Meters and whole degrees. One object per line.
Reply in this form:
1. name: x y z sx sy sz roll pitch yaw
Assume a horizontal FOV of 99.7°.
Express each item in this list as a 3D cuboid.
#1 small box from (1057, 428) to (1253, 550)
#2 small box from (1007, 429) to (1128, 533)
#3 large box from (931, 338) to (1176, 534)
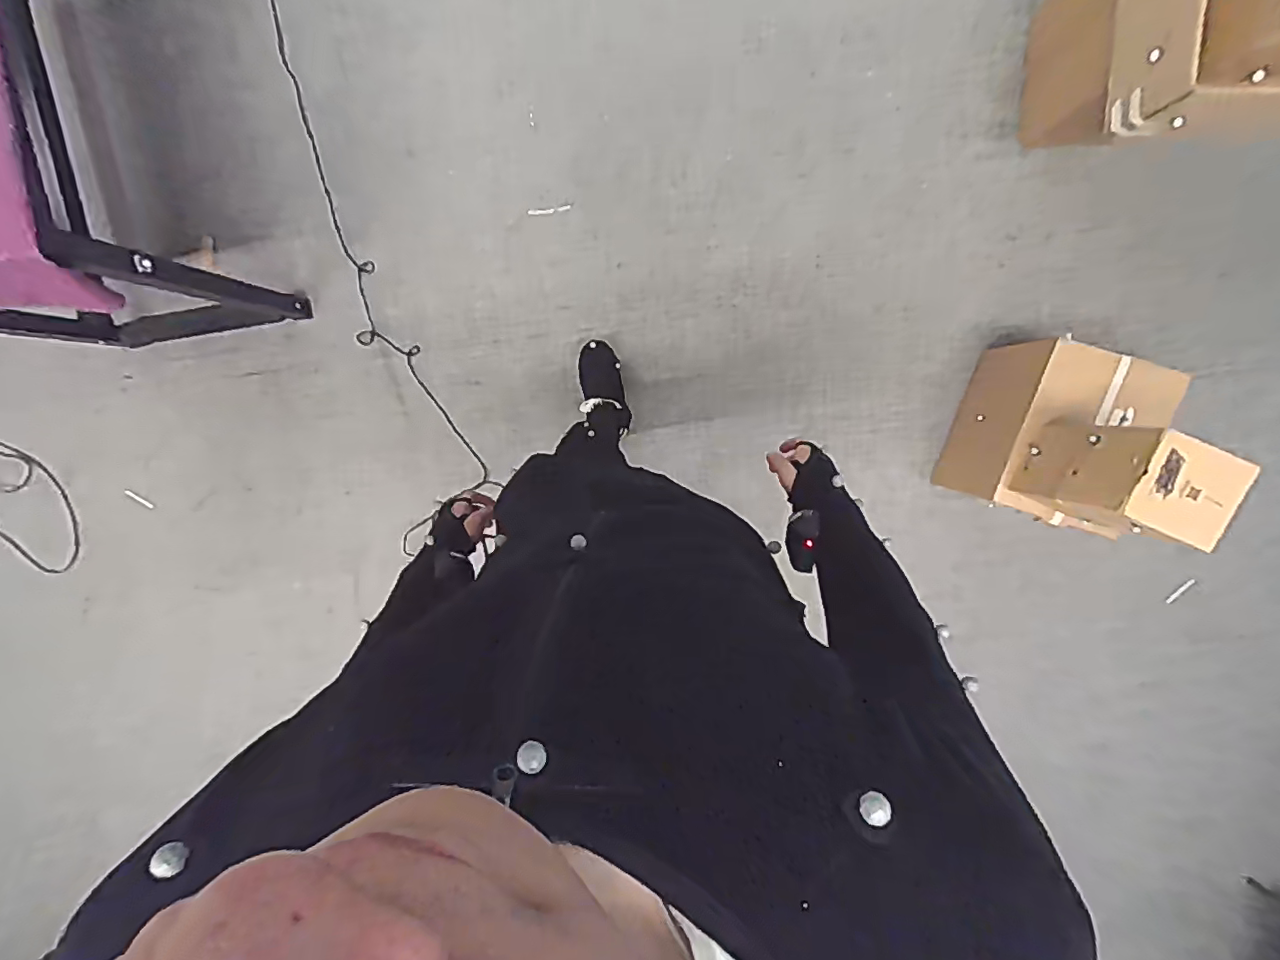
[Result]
1. small box: 0.950 0.009 1.020 0.179 0.176 0.168 23 98 -1
2. small box: 0.963 -0.008 1.182 0.179 0.176 0.168 23 98 0
3. large box: 1.037 -0.115 1.410 0.320 0.320 0.408 17 98 -1
